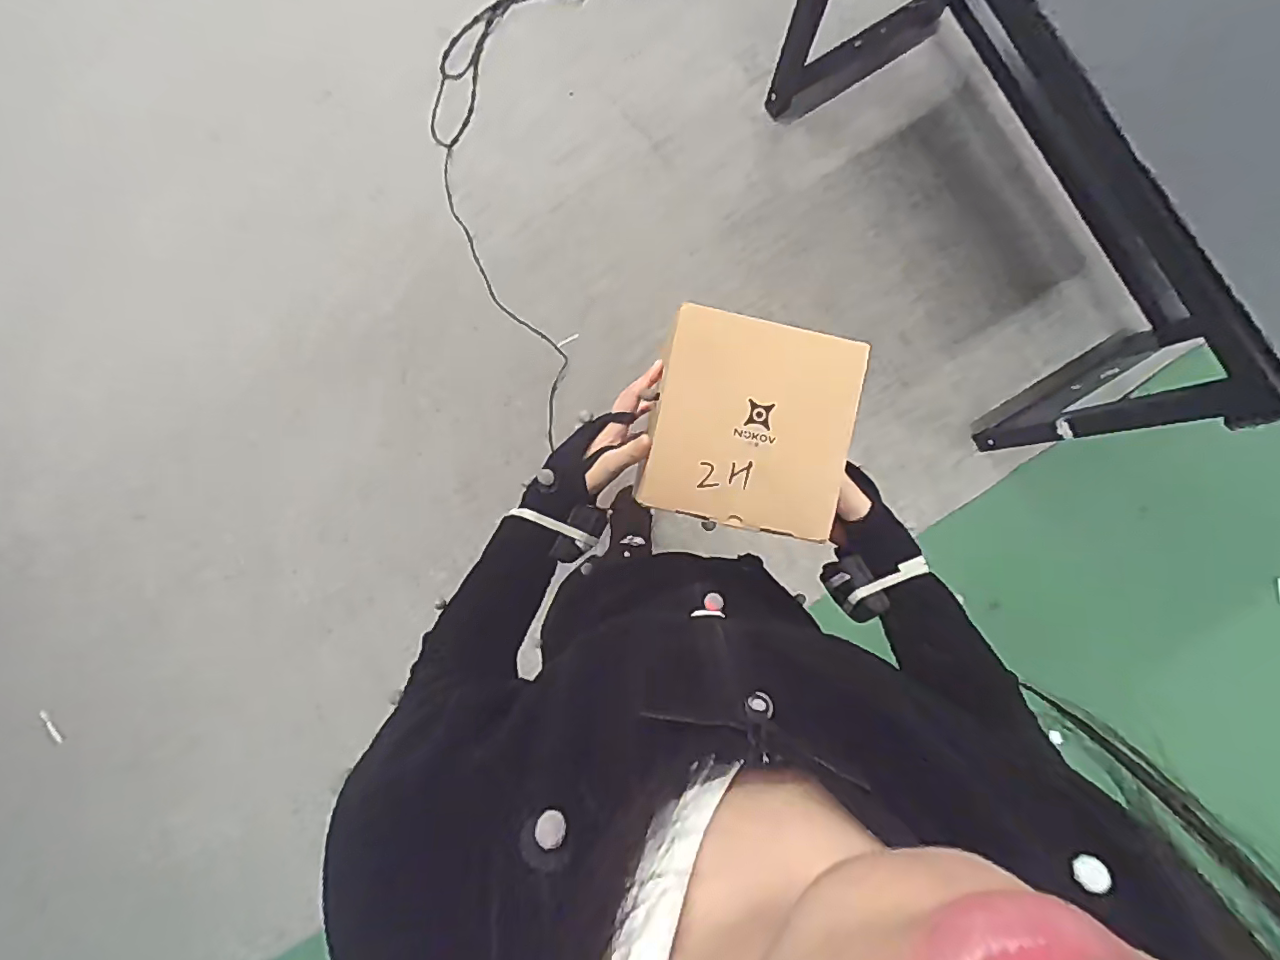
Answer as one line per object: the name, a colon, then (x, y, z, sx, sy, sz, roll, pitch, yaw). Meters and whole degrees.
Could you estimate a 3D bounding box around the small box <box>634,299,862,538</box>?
small box: (0.090, -0.052, 0.536, 0.168, 0.176, 0.179, 12, 91, -3)
